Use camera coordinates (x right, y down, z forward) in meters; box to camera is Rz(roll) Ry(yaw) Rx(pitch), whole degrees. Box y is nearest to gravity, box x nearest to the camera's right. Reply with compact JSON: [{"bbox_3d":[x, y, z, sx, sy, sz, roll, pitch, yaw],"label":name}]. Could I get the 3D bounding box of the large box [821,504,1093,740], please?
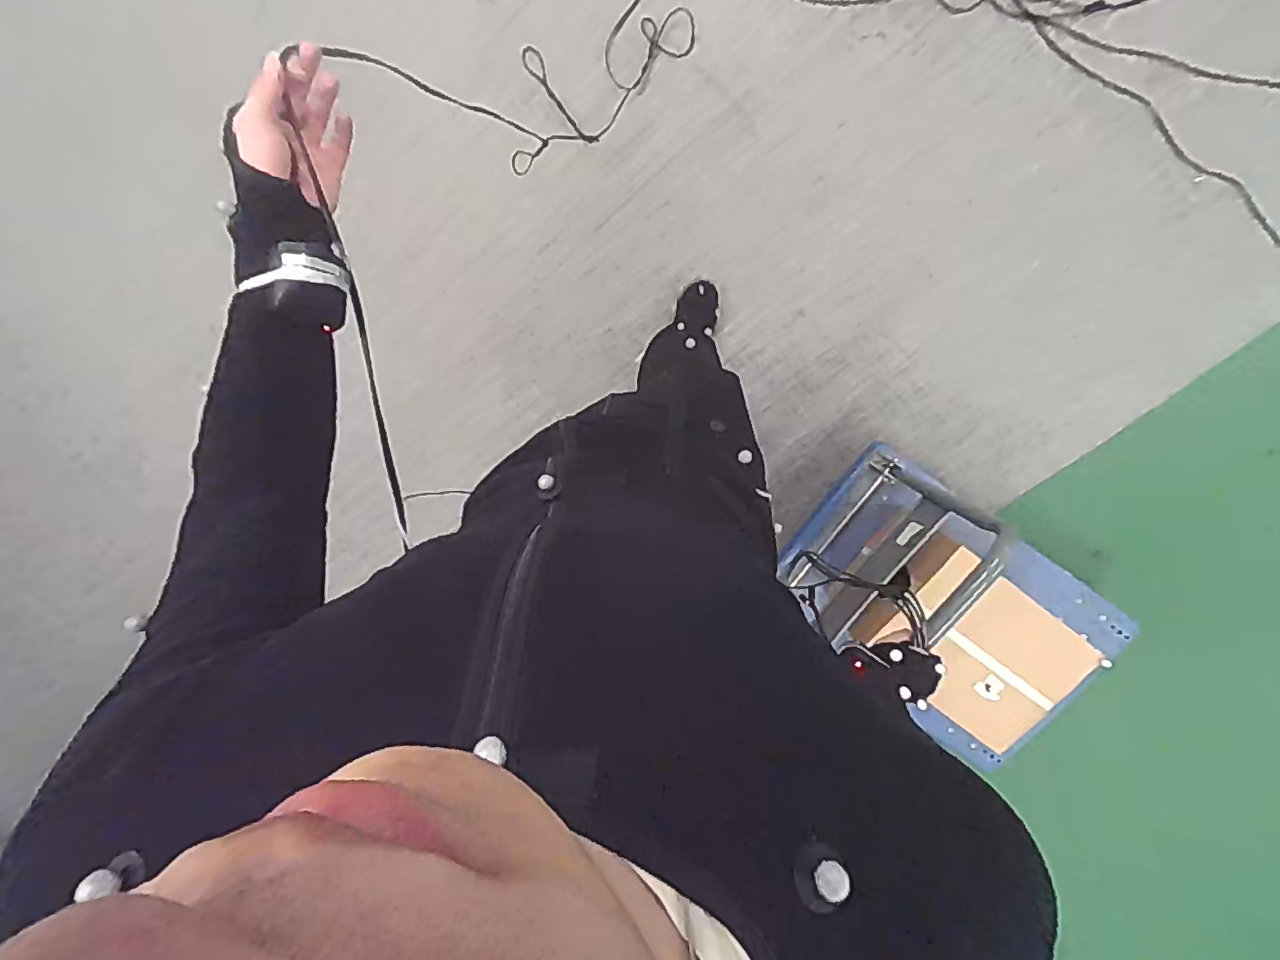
[{"bbox_3d":[0.724,0.320,1.305,0.408,0.320,0.320,37,103,-5],"label":"large box"}]
